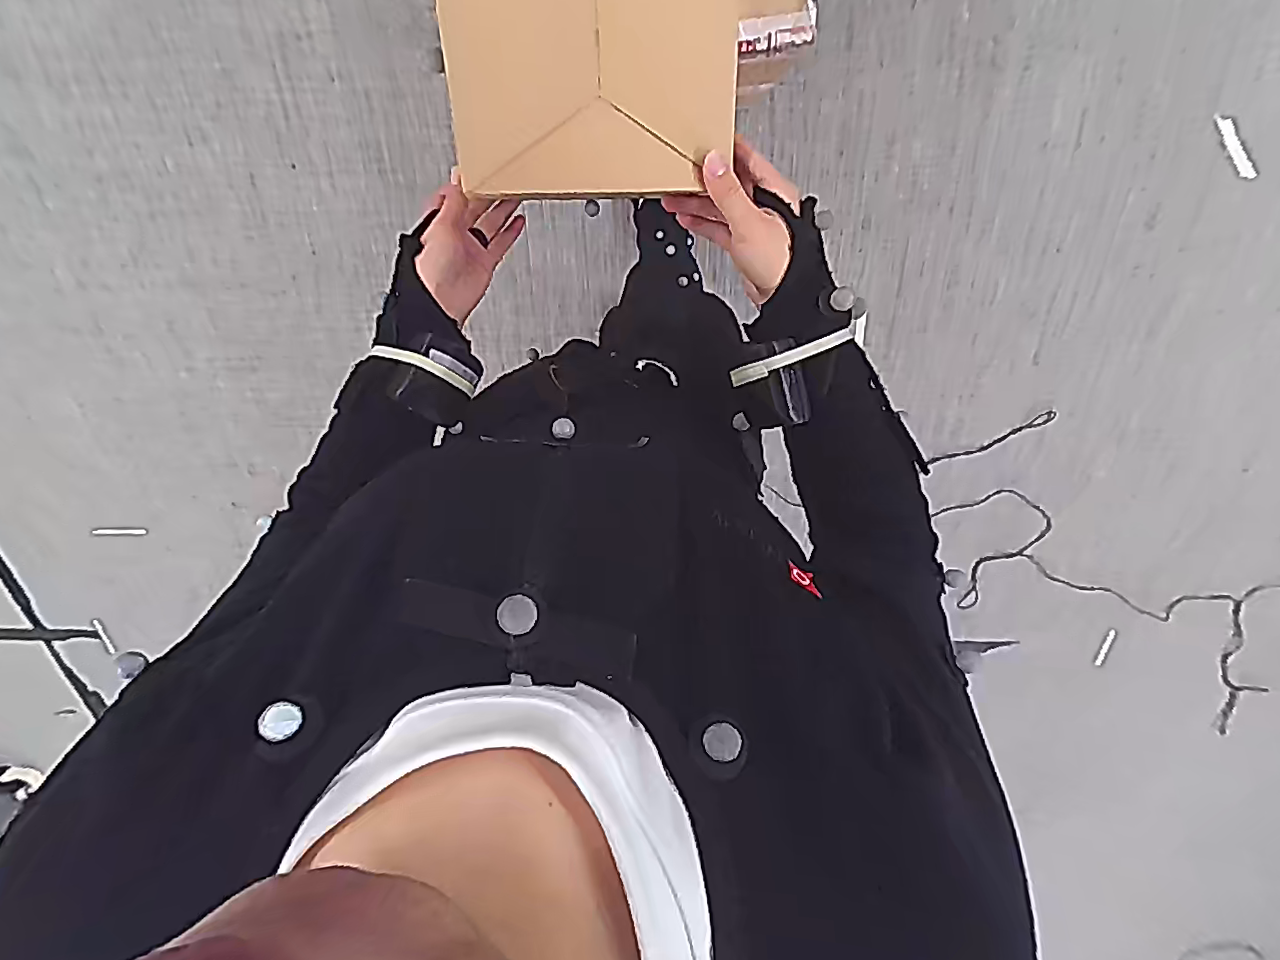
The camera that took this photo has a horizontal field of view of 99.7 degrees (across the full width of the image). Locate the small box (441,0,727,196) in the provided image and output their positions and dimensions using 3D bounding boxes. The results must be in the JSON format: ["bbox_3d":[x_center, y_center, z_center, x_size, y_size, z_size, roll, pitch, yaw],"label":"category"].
[{"bbox_3d":[-0.043,-0.298,0.386,0.179,0.176,0.168,-7,117,-13],"label":"small box"}]
